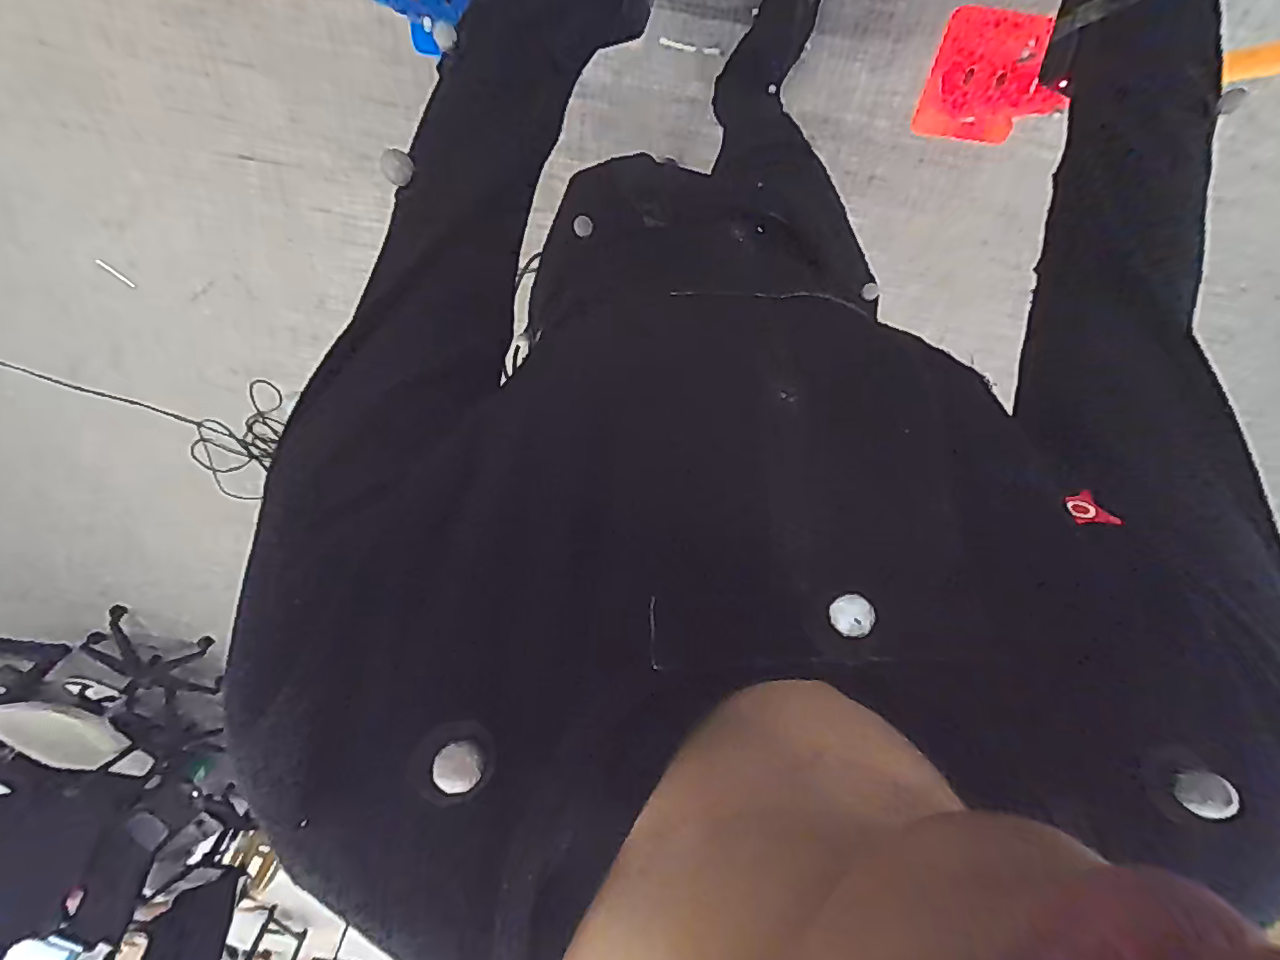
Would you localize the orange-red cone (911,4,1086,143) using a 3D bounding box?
[{"bbox_3d":[0.638,-0.674,0.915,0.199,0.360,0.198,10,129,-1],"label":"orange-red cone"}]
